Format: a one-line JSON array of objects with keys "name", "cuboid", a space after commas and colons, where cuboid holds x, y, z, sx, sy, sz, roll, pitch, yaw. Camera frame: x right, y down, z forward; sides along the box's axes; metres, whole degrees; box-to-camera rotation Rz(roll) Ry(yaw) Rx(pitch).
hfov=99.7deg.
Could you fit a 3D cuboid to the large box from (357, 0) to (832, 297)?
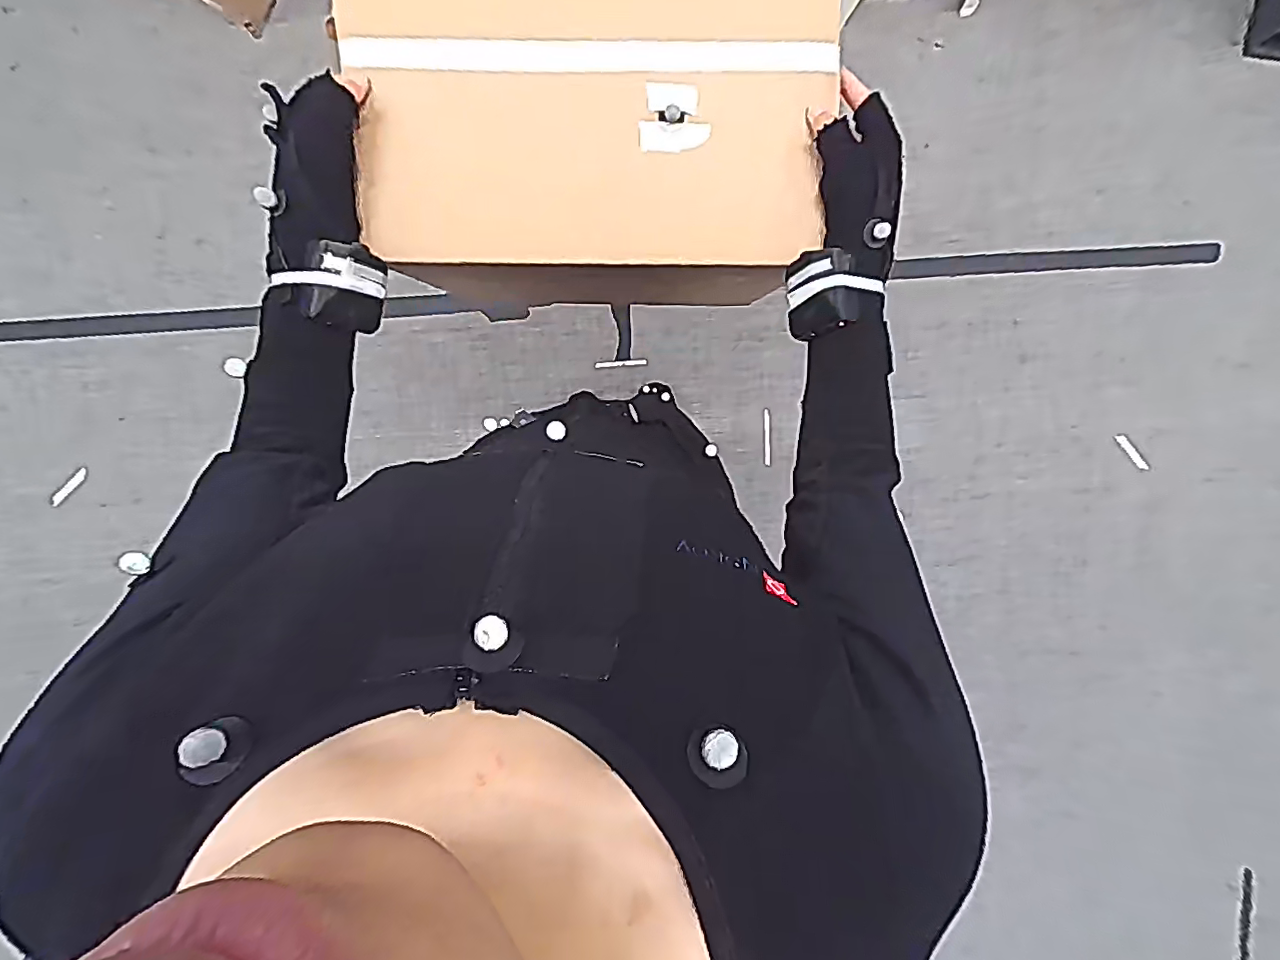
[{"name": "large box", "cuboid": [-0.041, -0.387, 0.604, 0.408, 0.320, 0.320, -1, 103, -1]}]
